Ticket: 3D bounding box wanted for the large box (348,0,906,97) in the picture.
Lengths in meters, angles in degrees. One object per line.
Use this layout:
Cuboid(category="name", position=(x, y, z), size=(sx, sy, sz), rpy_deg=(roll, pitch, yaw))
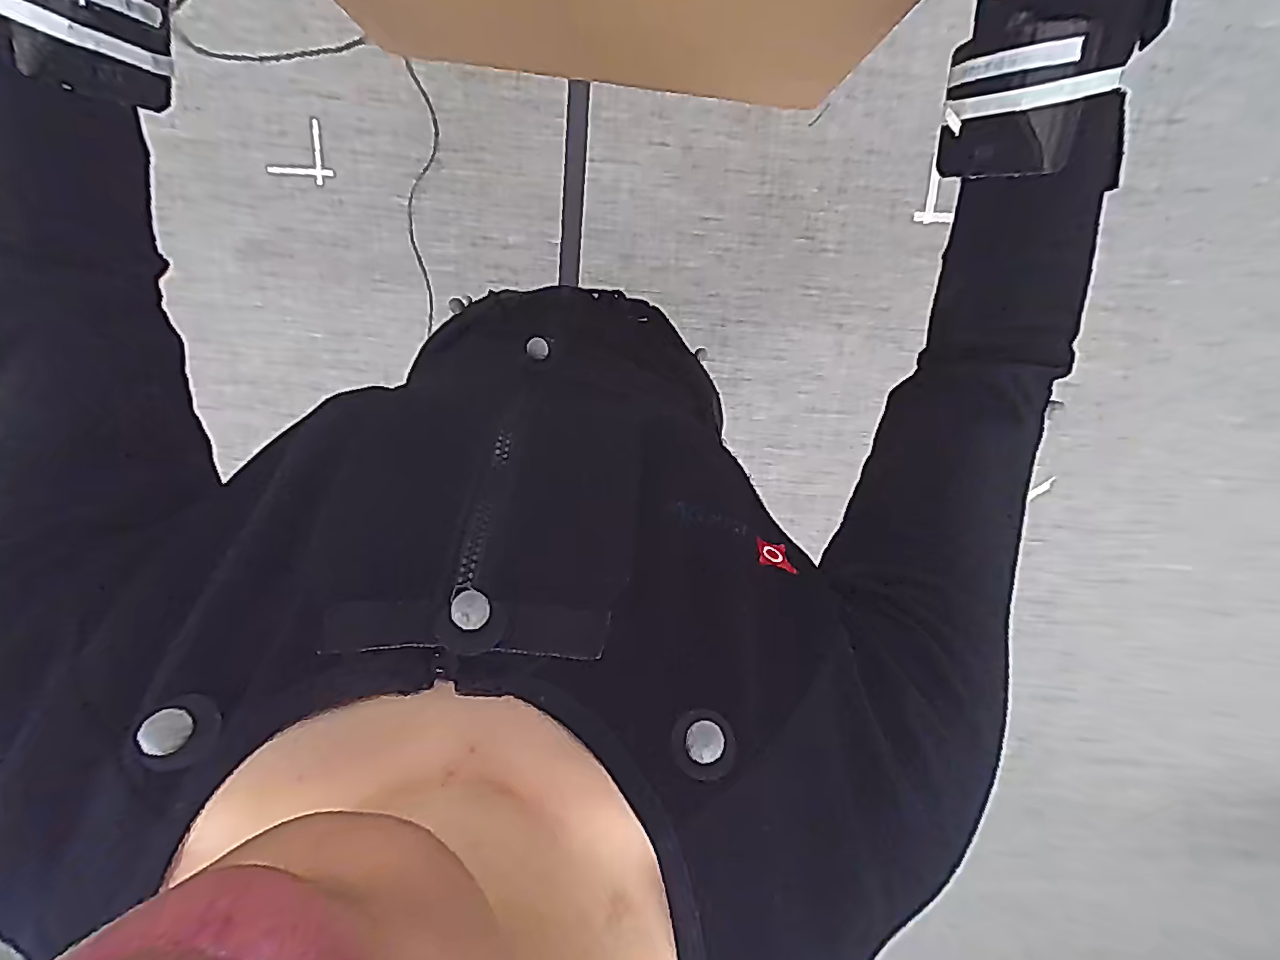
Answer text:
Cuboid(category="large box", position=(-0.012, -0.468, 0.311), size=(0.408, 0.320, 0.320), rpy_deg=(5, 109, -4))
